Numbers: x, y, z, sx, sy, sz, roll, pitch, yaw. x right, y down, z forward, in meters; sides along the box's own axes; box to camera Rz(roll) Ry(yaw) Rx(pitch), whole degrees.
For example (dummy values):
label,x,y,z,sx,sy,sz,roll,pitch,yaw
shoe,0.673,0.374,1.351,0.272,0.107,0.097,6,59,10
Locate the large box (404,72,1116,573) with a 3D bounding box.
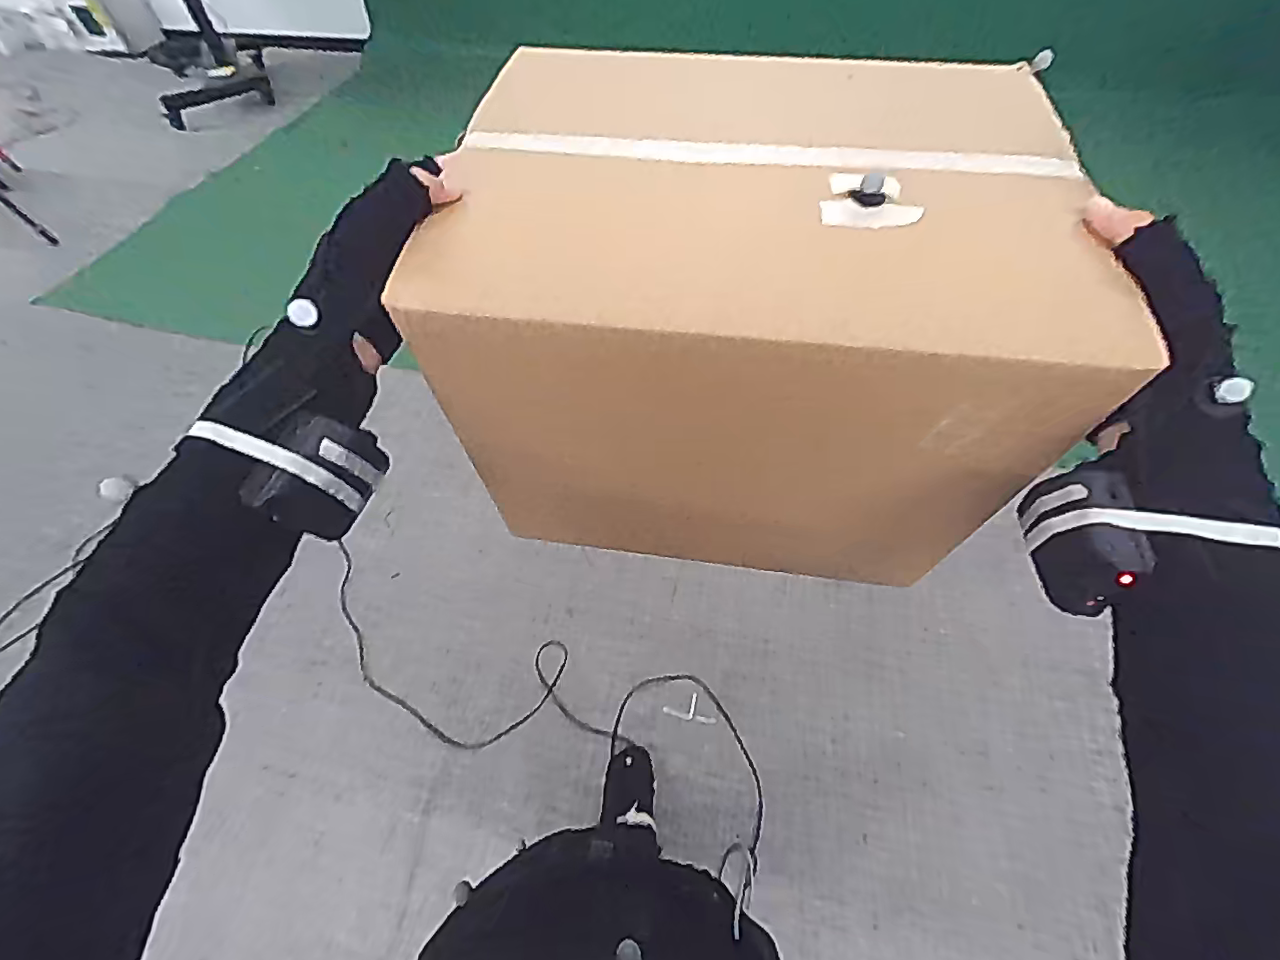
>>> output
label,x,y,z,sx,sy,sz,roll,pitch,yaw
large box,0.076,-0.128,0.502,0.408,0.320,0.320,6,60,5
